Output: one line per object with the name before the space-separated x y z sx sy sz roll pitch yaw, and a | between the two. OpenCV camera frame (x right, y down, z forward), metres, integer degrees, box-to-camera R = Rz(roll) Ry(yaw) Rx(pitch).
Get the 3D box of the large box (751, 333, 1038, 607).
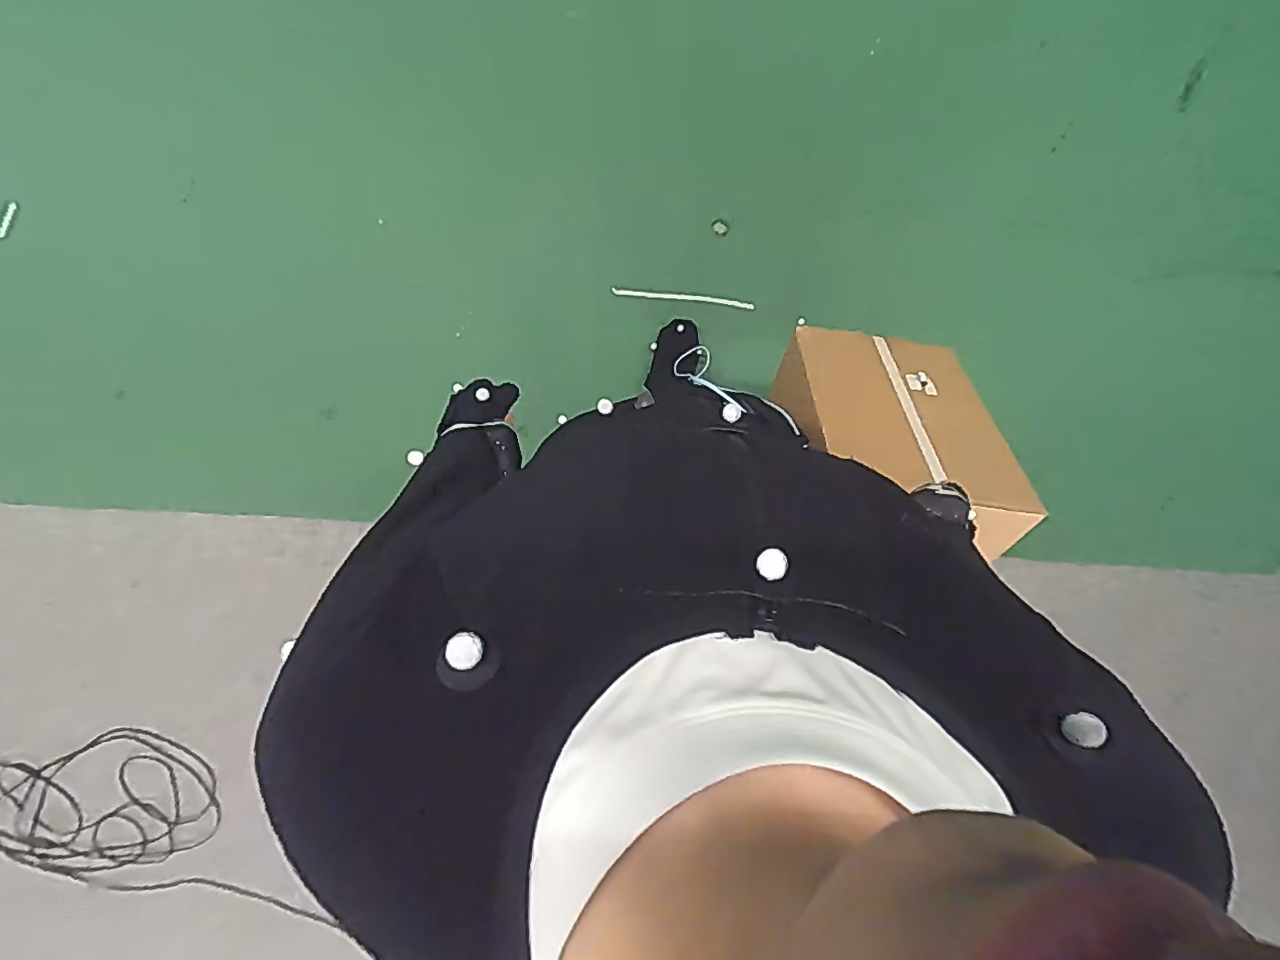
large box | 0.414 -0.017 1.011 0.320 0.408 0.320 7 138 -5
